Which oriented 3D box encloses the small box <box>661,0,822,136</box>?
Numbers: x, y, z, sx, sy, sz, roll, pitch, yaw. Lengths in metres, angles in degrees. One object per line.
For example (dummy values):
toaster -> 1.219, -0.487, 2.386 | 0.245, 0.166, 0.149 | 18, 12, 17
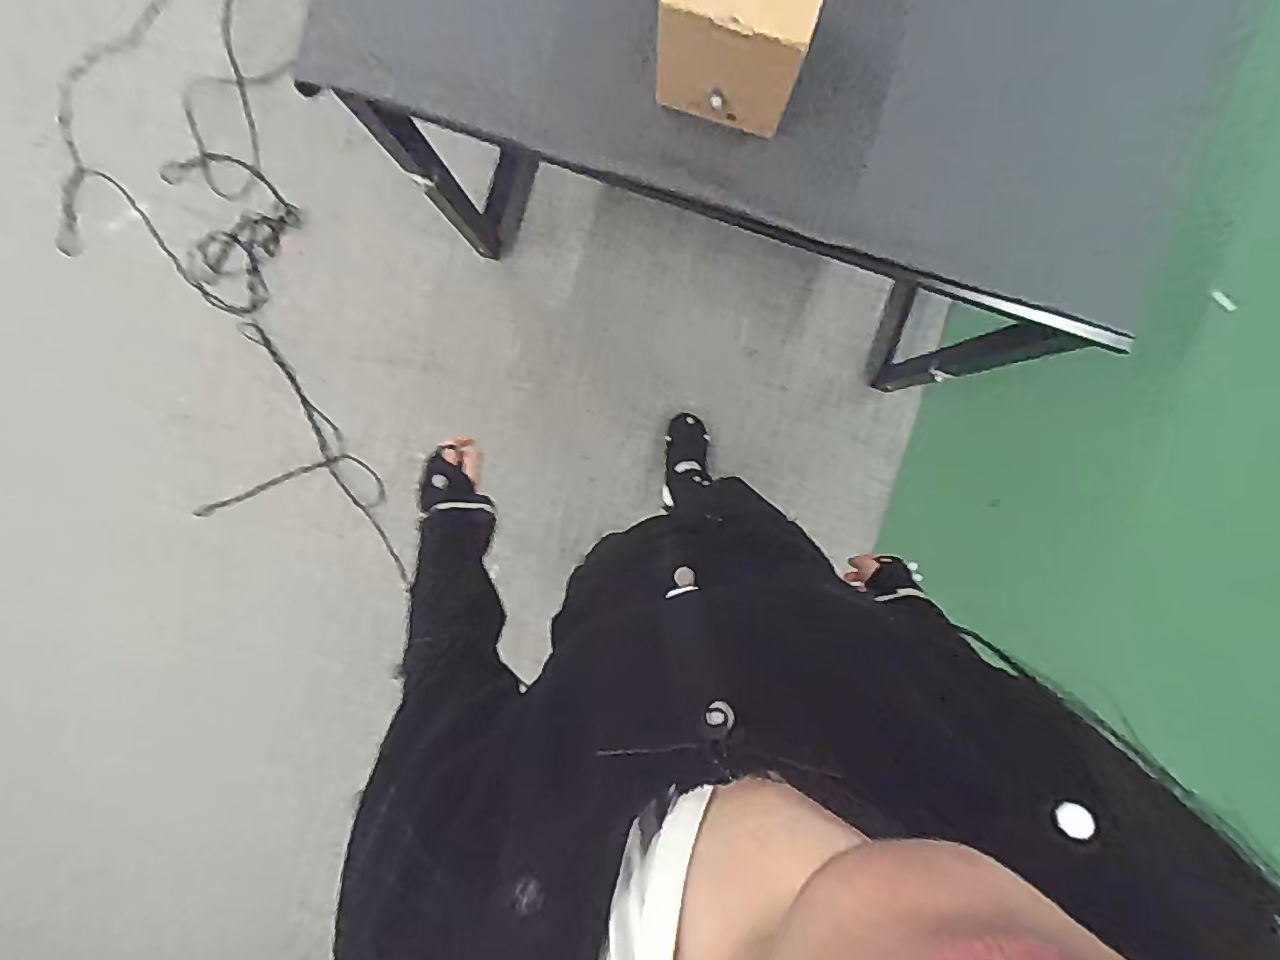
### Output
small box -> 0.123, -0.559, 0.639 | 0.168, 0.176, 0.179 | 17, 93, 1
